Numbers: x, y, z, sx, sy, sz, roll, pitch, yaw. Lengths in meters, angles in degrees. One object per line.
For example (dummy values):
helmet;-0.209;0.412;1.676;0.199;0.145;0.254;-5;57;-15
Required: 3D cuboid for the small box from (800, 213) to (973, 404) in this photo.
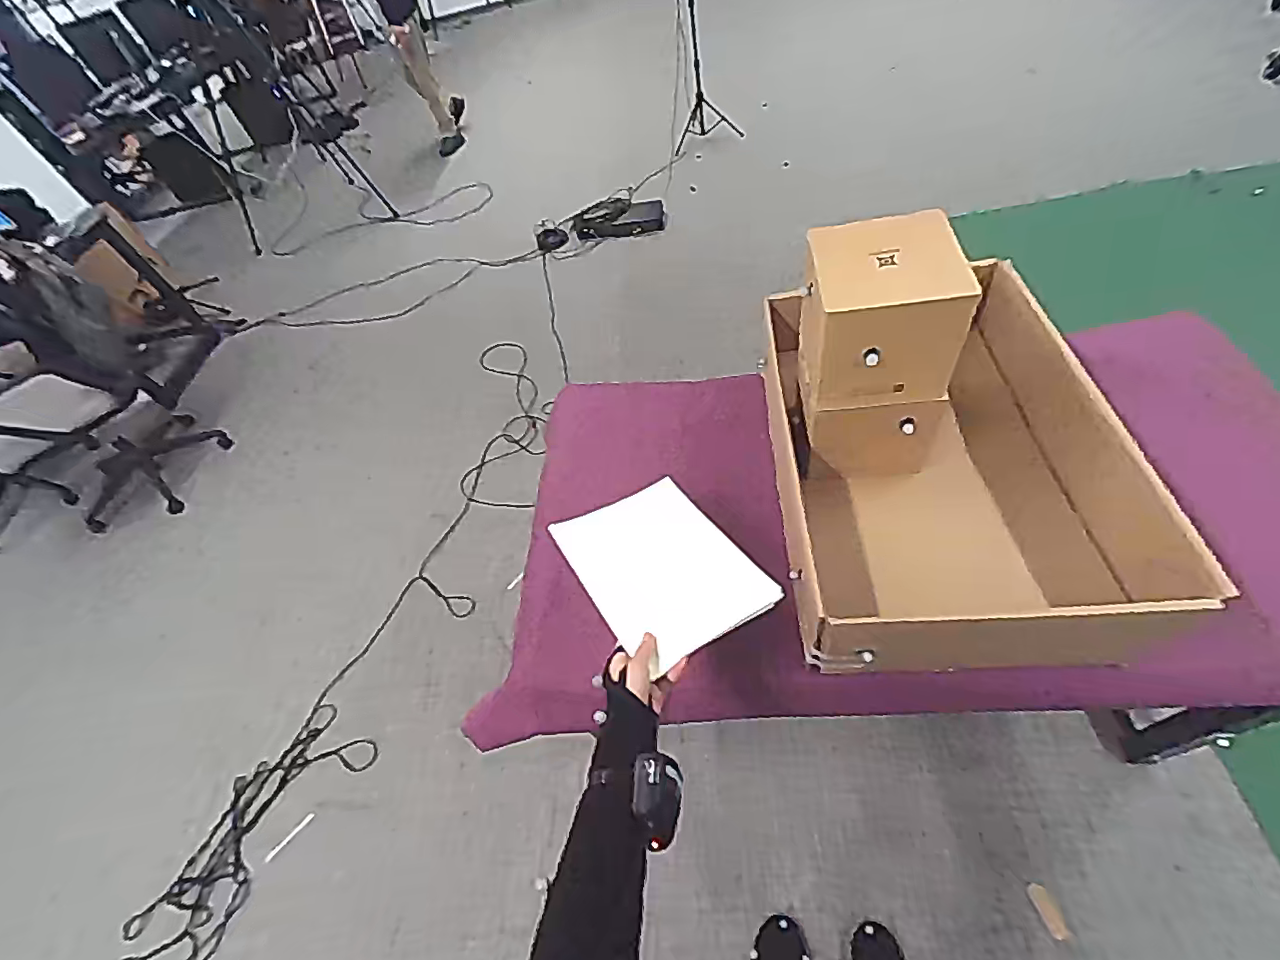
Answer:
small box;0.306;-0.215;0.714;0.168;0.176;0.179;-5;53;11
